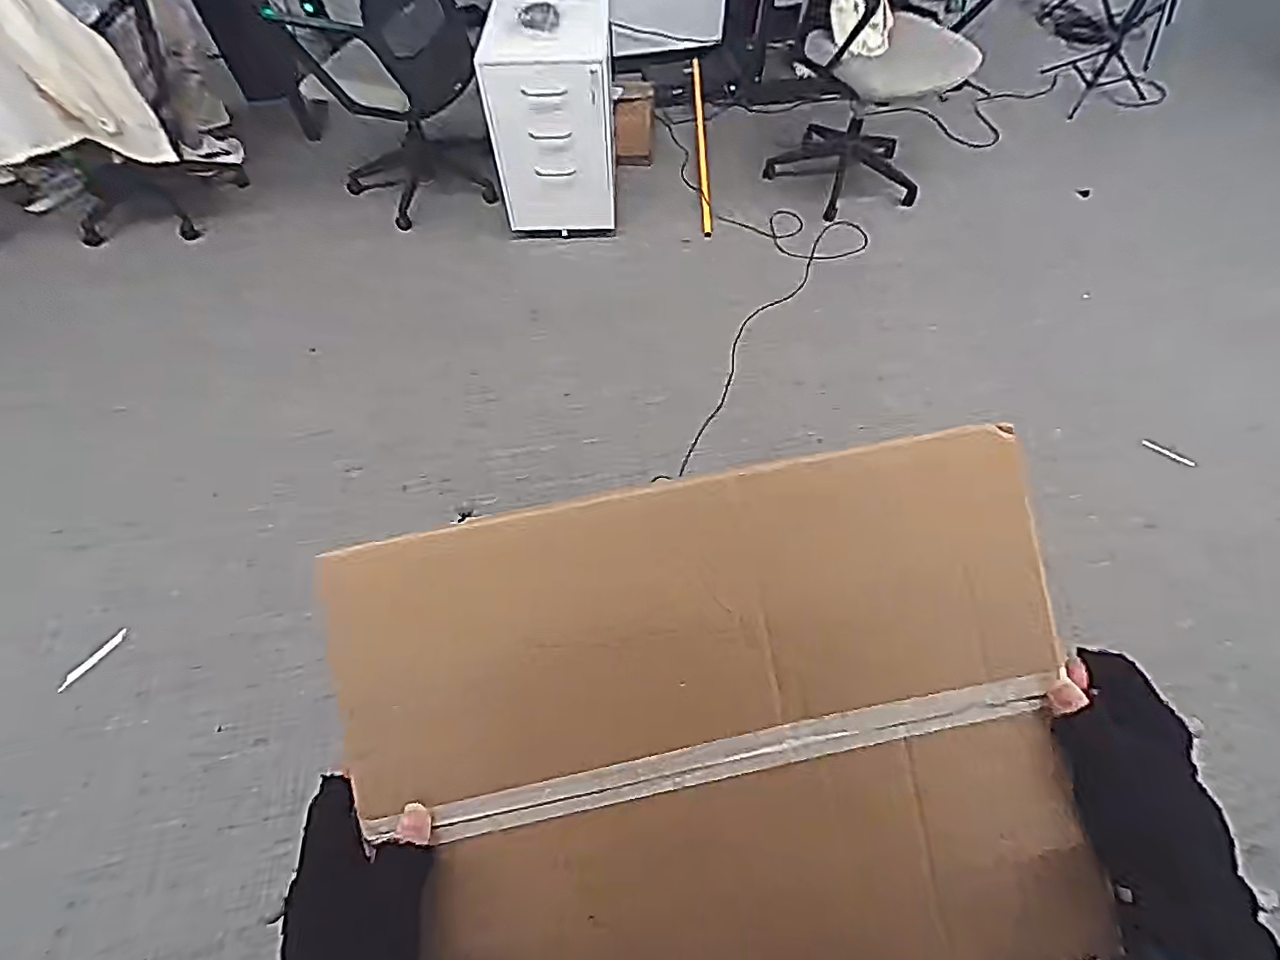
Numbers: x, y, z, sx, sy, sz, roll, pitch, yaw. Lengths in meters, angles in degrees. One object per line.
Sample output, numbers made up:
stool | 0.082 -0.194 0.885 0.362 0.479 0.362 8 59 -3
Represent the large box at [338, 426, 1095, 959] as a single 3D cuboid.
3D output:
large box | 0.042 0.162 0.465 0.408 0.320 0.320 -12 90 -2
